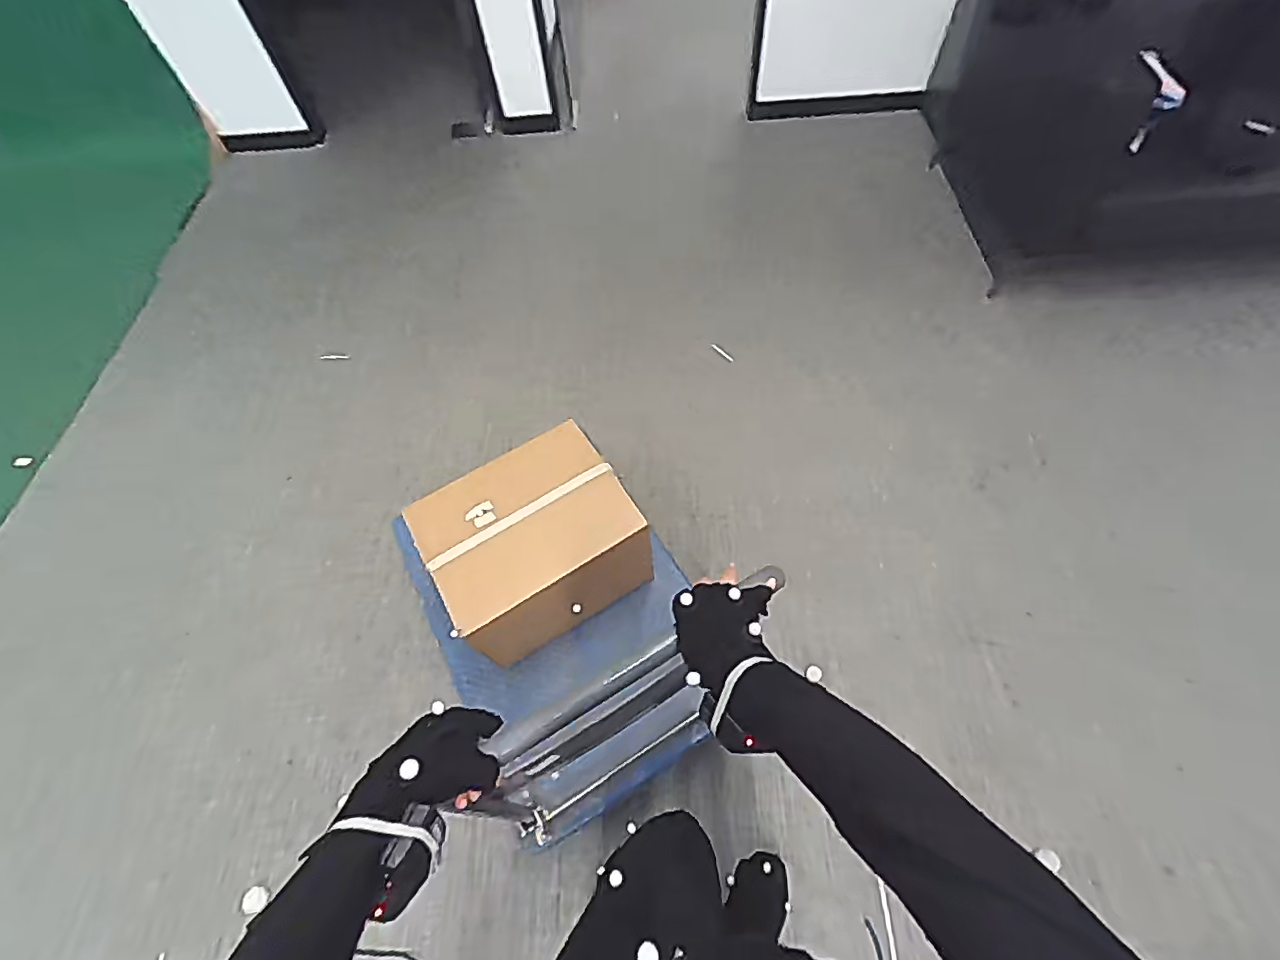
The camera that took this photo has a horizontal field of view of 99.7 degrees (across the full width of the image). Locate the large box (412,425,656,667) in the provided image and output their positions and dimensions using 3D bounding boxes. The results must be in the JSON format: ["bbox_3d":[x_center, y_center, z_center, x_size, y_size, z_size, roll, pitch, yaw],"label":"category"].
[{"bbox_3d":[-0.212,0.154,1.216,0.408,0.320,0.320,-31,63,-13],"label":"large box"}]
